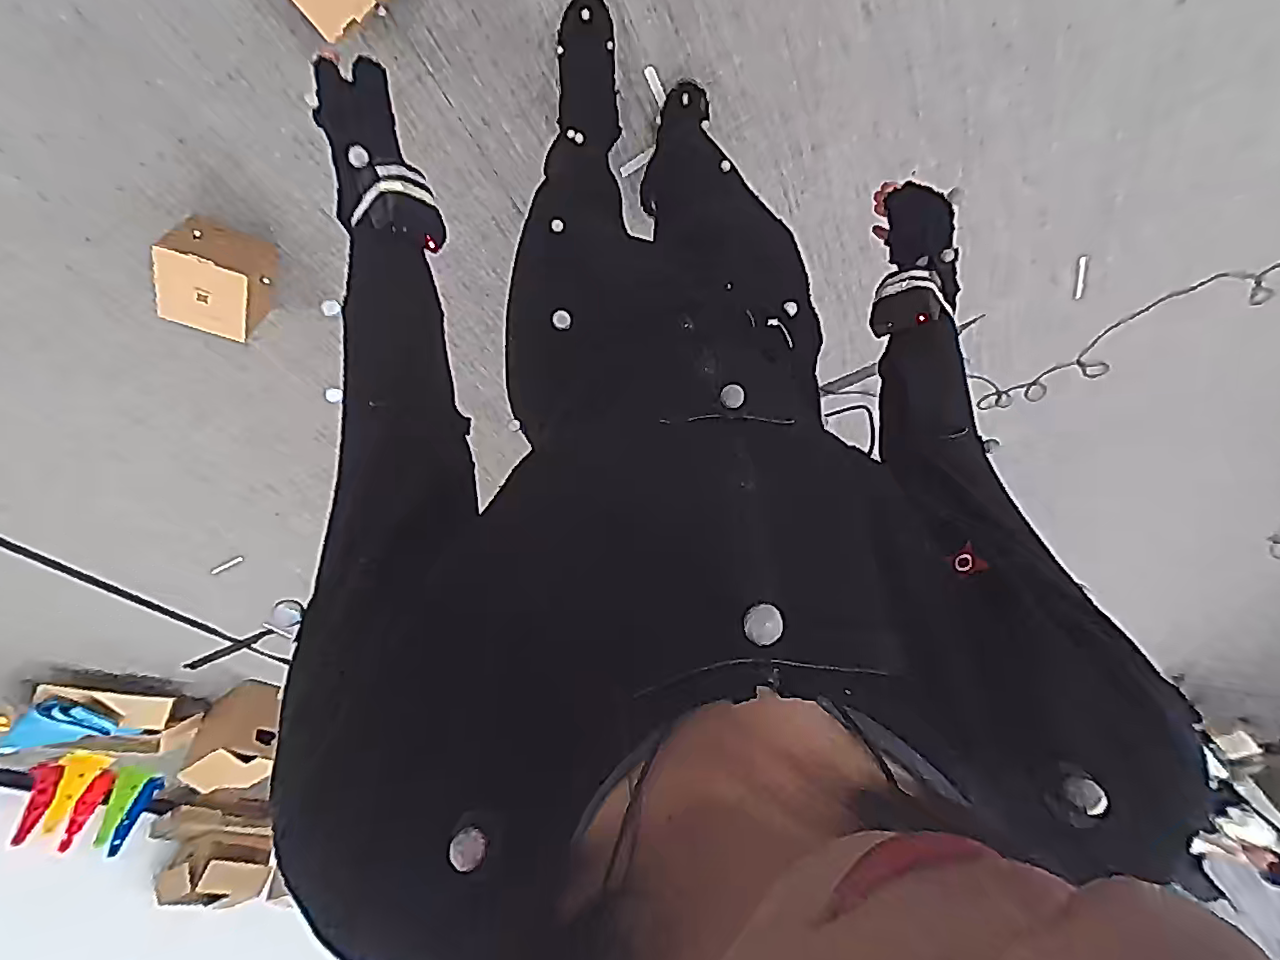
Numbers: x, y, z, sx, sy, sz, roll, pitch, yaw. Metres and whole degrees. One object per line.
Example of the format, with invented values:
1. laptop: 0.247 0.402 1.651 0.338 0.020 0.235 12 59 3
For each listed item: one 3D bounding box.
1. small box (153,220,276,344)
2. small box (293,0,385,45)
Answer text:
1. small box: -0.932 -0.442 1.197 0.168 0.176 0.179 17 130 -22
2. small box: -0.495 -0.854 0.865 0.168 0.176 0.179 -30 132 18
